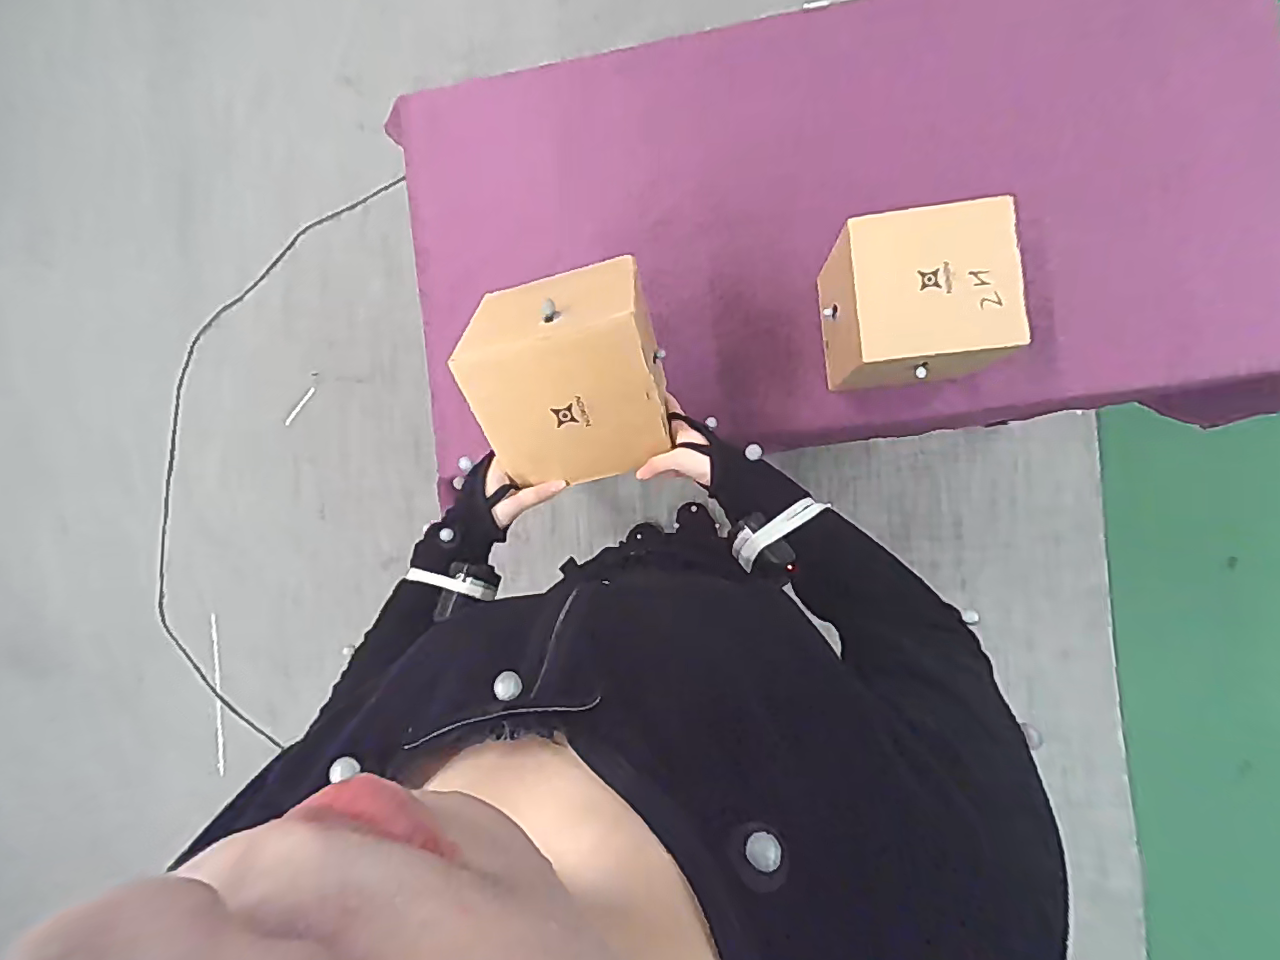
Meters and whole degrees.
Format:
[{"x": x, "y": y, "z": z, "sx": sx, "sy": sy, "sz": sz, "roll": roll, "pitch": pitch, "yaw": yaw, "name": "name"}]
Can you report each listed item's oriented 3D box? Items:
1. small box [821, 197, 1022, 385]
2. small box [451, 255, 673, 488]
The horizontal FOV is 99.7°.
[{"x": 0.331, "y": -0.220, "z": 0.674, "sx": 0.179, "sy": 0.176, "sz": 0.168, "roll": -5, "pitch": 89, "yaw": 6, "name": "small box"}, {"x": -0.070, "y": -0.120, "z": 0.581, "sx": 0.179, "sy": 0.176, "sz": 0.168, "roll": -13, "pitch": 128, "yaw": 7, "name": "small box"}]
